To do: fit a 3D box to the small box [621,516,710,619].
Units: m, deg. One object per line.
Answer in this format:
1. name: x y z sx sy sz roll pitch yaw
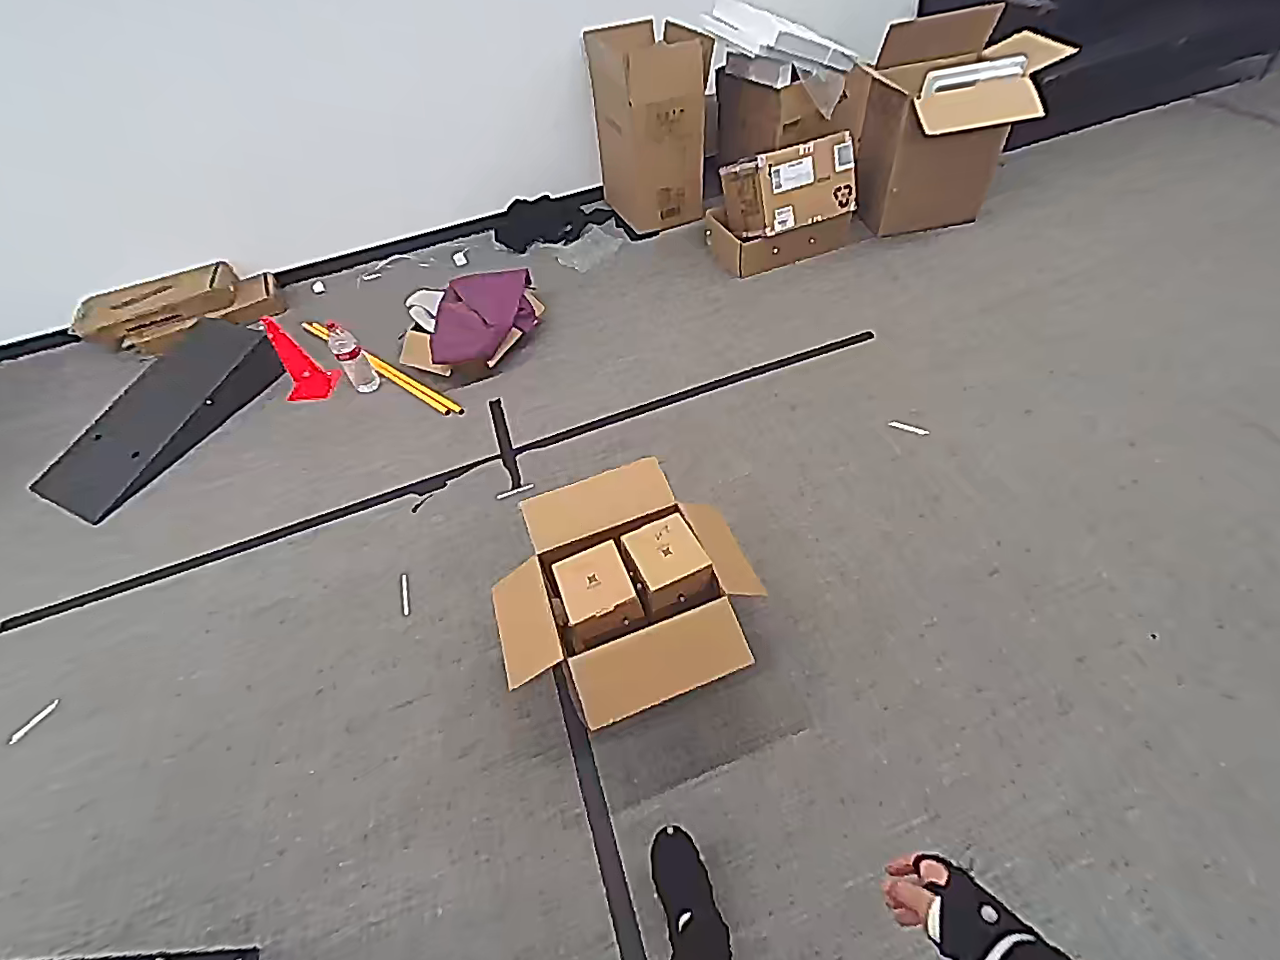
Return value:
1. small box: 0.064 0.230 1.373 0.168 0.176 0.179 -22 51 -15
